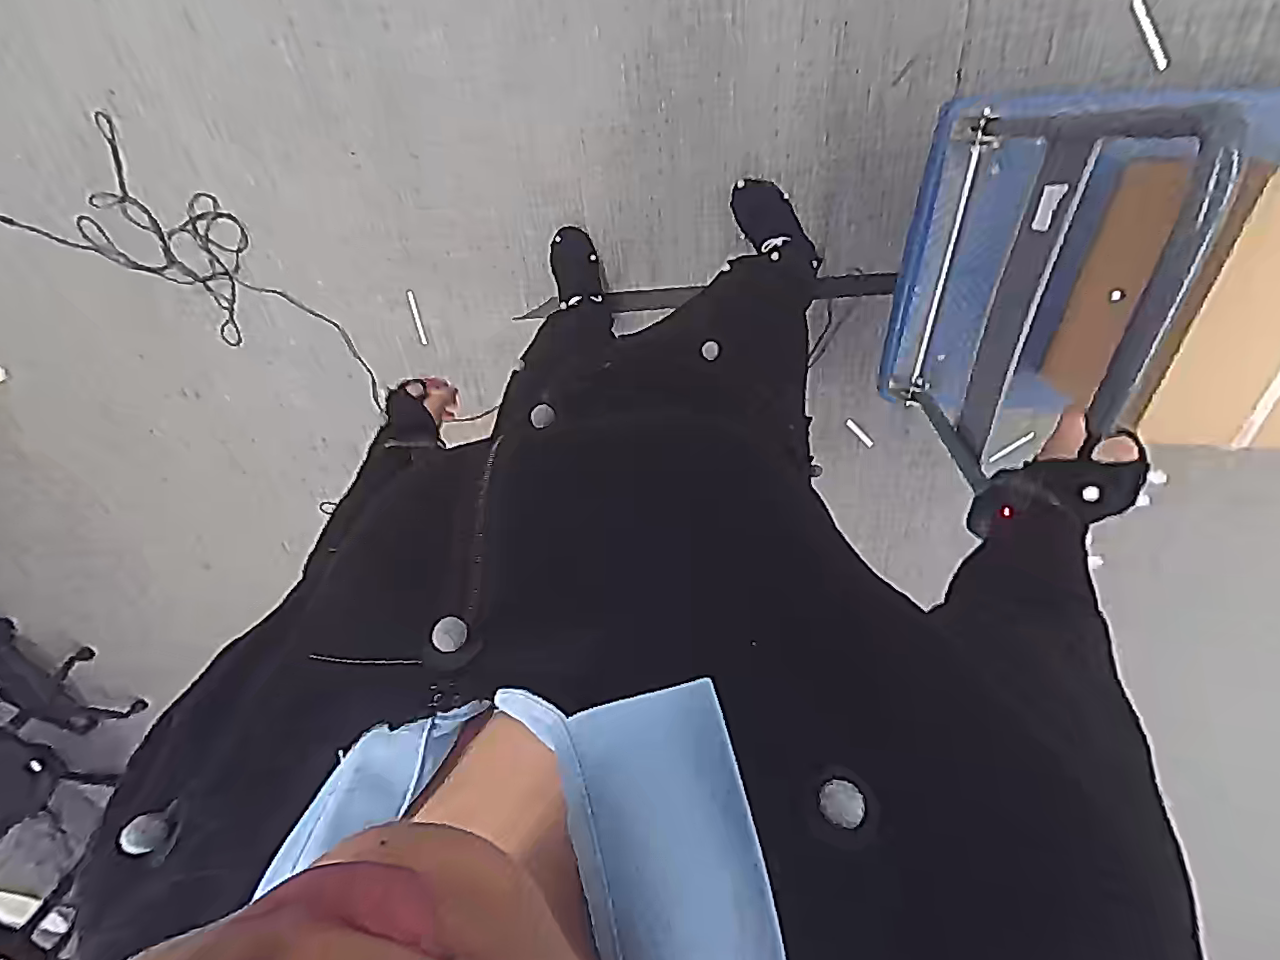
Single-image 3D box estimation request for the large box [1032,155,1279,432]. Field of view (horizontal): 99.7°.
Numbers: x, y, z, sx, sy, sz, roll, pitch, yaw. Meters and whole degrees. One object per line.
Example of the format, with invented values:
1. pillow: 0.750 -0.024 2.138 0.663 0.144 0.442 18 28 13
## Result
1. large box: 0.979 -0.330 0.941 0.320 0.320 0.408 3 121 5
